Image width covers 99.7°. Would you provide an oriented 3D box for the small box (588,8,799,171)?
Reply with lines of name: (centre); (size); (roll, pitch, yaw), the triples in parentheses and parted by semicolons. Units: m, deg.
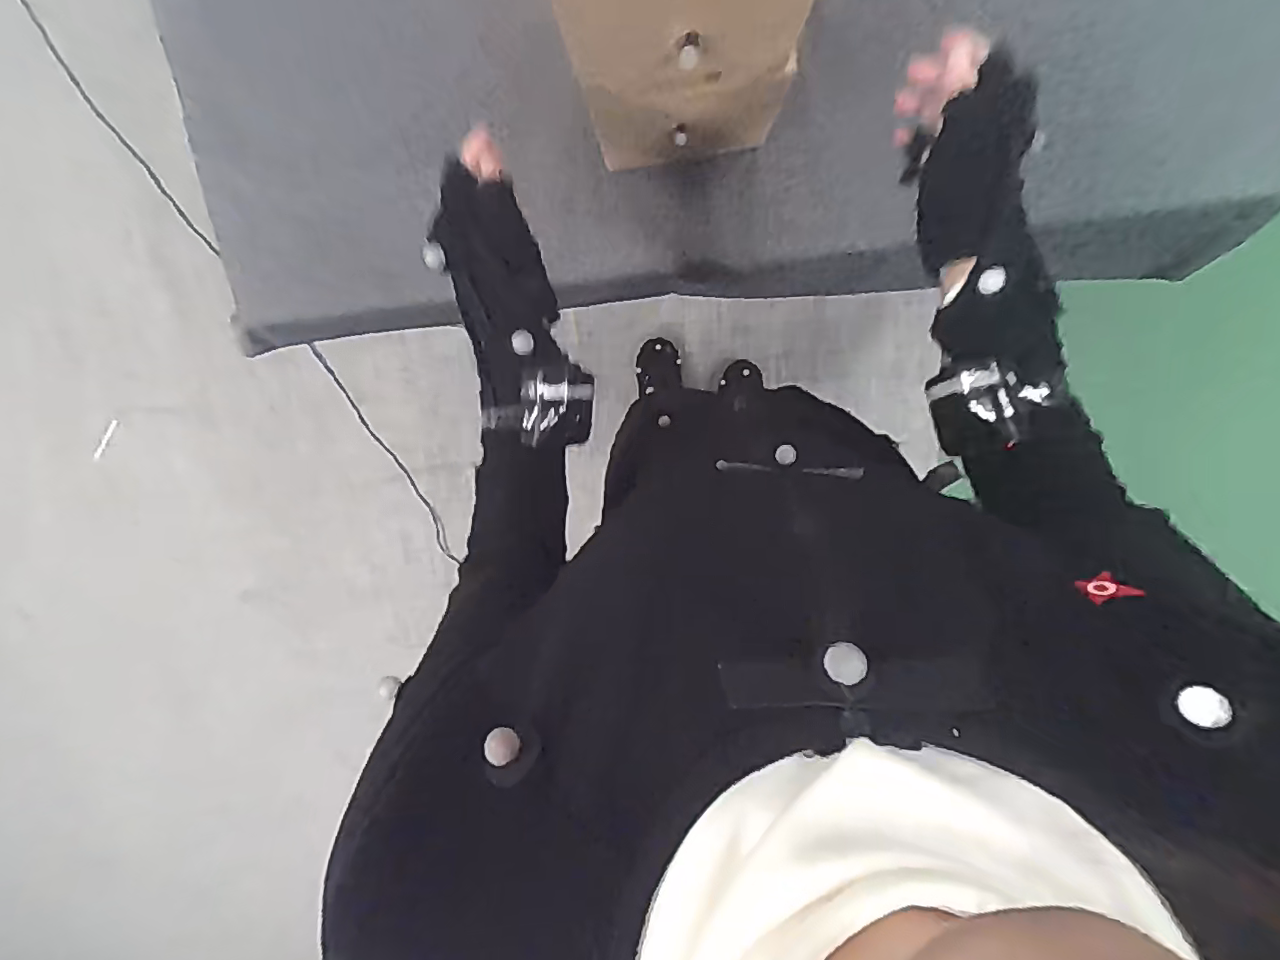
small box: (0.032, -0.416, 0.506); (0.179, 0.176, 0.168); (-11, 104, 4)
